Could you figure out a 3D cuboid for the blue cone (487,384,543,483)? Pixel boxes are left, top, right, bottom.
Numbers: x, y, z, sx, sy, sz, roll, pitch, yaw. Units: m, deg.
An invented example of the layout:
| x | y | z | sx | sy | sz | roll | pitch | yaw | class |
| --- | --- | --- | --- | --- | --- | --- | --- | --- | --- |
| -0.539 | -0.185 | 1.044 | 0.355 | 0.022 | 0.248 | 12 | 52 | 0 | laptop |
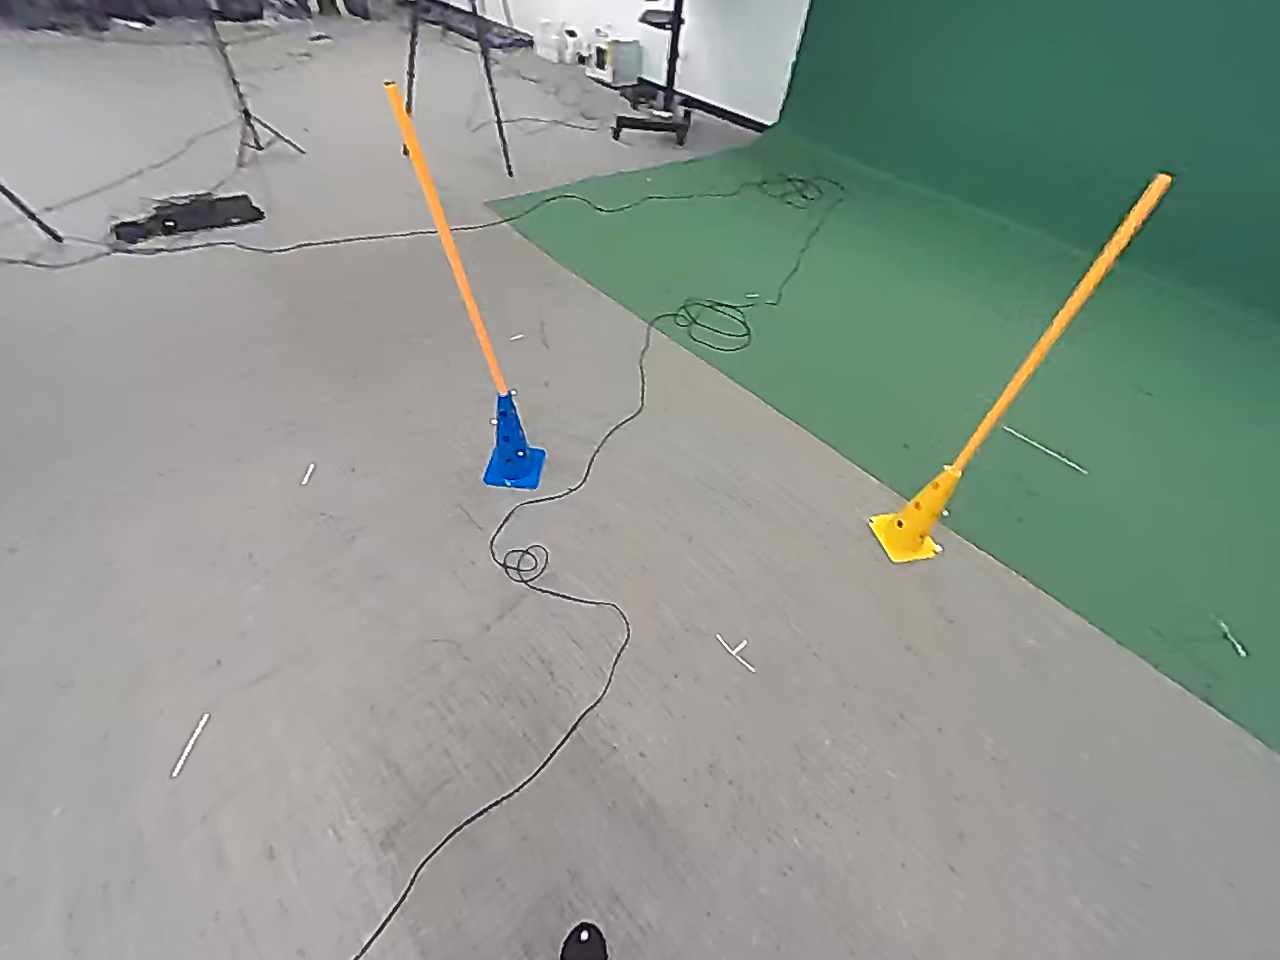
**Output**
| x | y | z | sx | sy | sz | roll | pitch | yaw | class |
| --- | --- | --- | --- | --- | --- | --- | --- | --- | --- |
| -0.449 | -0.169 | 1.866 | 0.193 | 0.380 | 0.192 | 4 | 49 | -1 | blue cone |
